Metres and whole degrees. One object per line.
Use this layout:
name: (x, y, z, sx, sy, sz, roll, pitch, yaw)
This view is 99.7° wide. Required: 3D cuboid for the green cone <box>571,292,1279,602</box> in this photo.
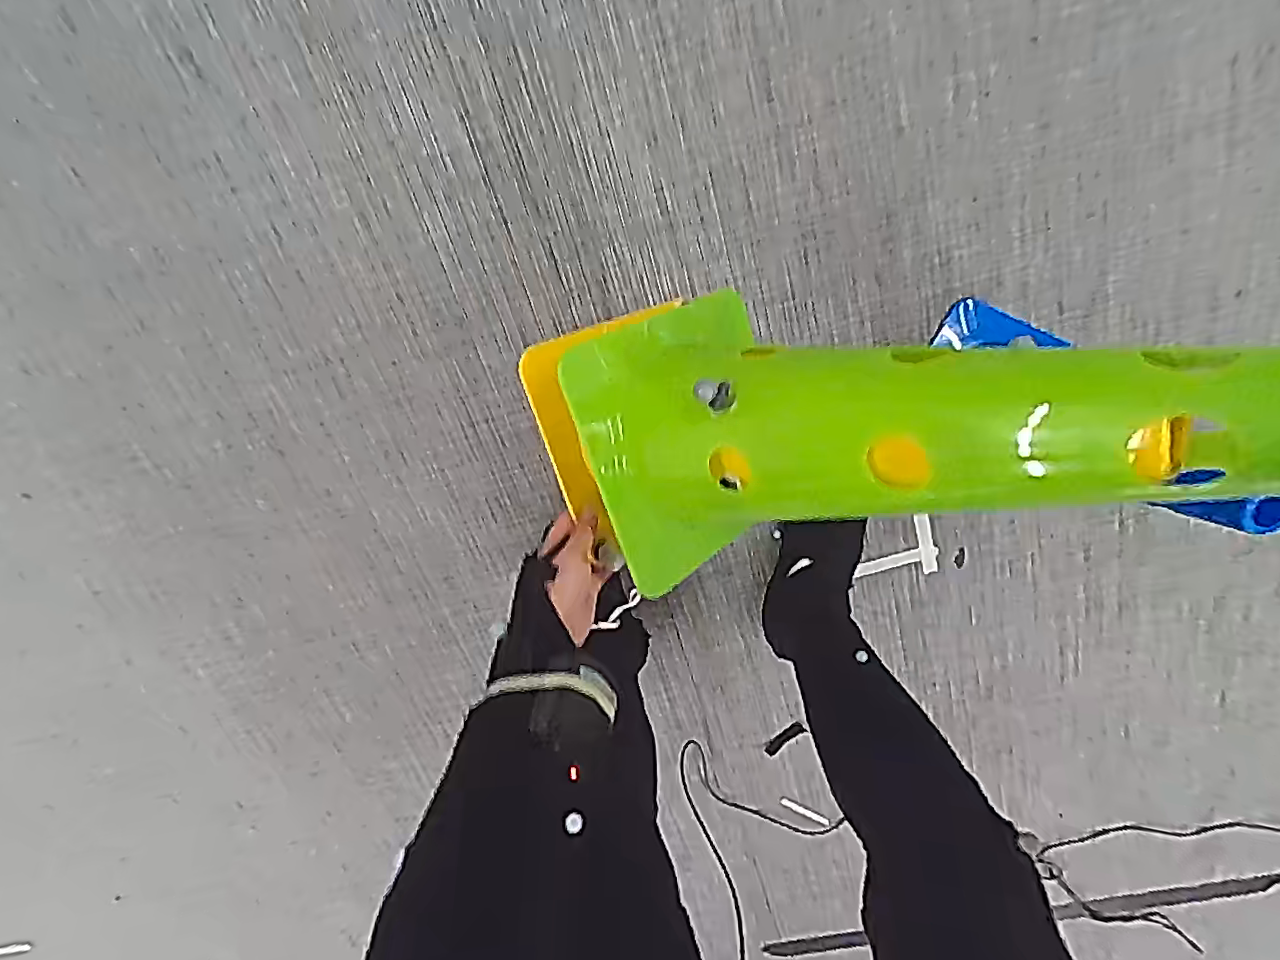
green cone: (0.156, -0.024, 0.288, 0.202, 0.368, 0.200, -31, 110, -31)
